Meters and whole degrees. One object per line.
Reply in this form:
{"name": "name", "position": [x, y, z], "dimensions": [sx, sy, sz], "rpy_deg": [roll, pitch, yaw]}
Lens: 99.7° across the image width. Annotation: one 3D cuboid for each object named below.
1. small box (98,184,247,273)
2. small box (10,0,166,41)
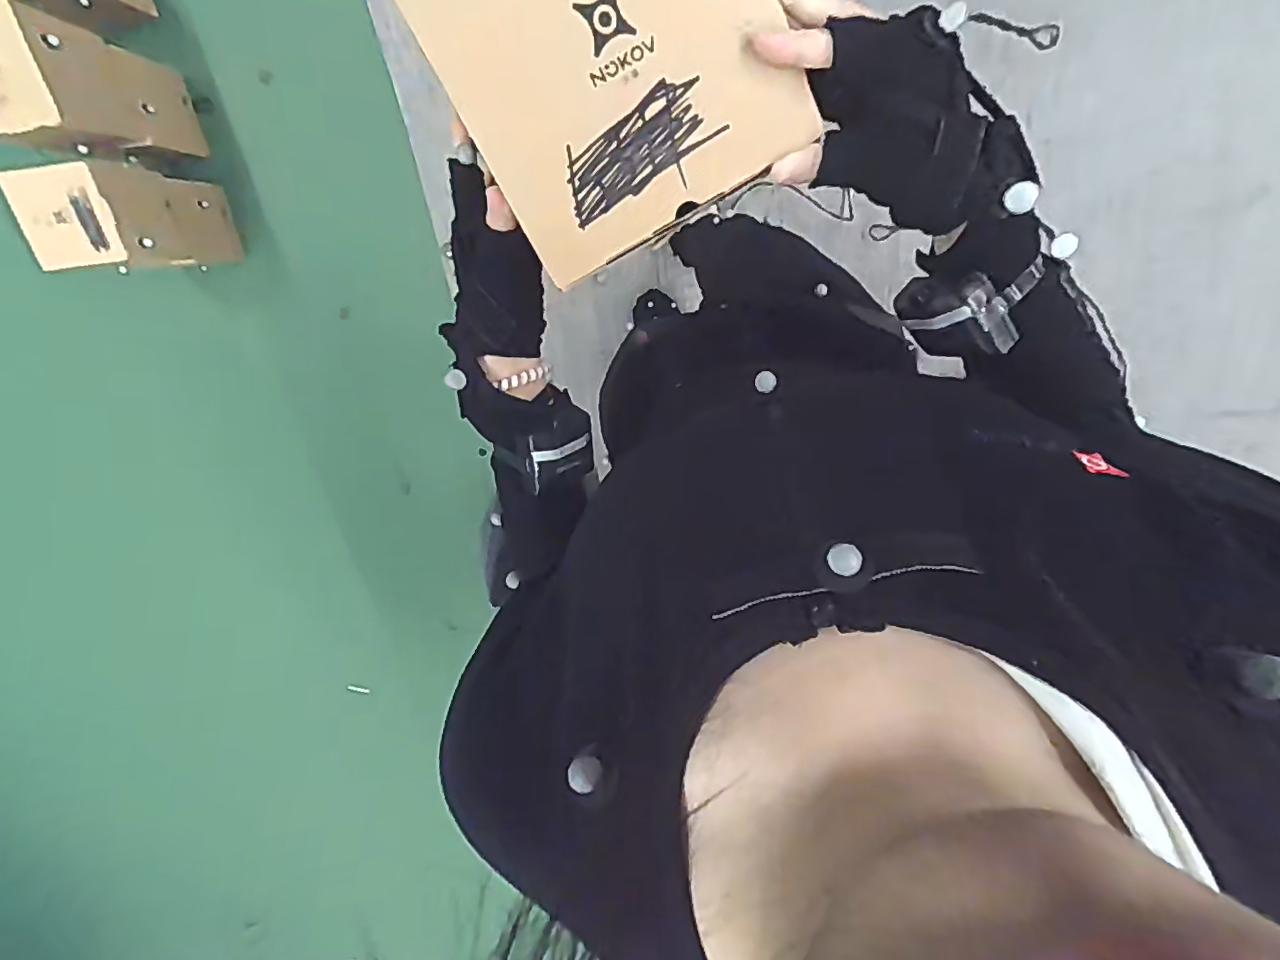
{"name": "small box", "position": [-1.041, -0.569, 1.230], "dimensions": [0.179, 0.176, 0.168], "rpy_deg": [-4, 112, 2]}
{"name": "small box", "position": [-1.100, -0.996, 1.054], "dimensions": [0.179, 0.176, 0.168], "rpy_deg": [-8, 112, 3]}
